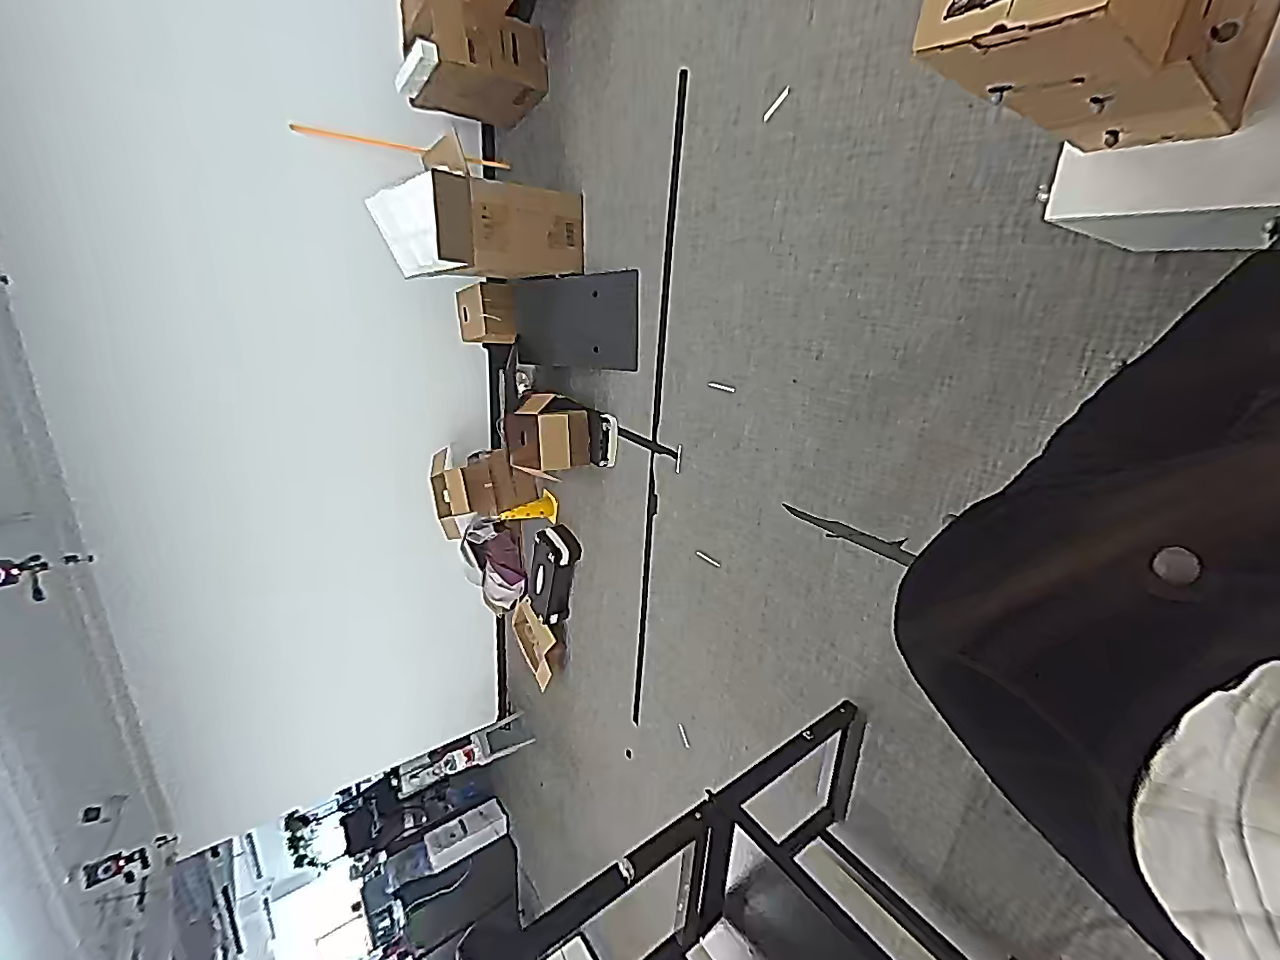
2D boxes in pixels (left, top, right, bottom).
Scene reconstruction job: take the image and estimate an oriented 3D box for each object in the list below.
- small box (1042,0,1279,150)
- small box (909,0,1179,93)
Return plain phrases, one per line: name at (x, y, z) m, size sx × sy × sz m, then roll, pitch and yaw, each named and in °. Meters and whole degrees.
small box at (0.658, -0.537, 0.686) m, size 0.168 × 0.176 × 0.179 m, roll 27°, pitch 119°, yaw 47°
small box at (0.391, -0.485, 0.500) m, size 0.168 × 0.176 × 0.179 m, roll 31°, pitch 122°, yaw 46°
